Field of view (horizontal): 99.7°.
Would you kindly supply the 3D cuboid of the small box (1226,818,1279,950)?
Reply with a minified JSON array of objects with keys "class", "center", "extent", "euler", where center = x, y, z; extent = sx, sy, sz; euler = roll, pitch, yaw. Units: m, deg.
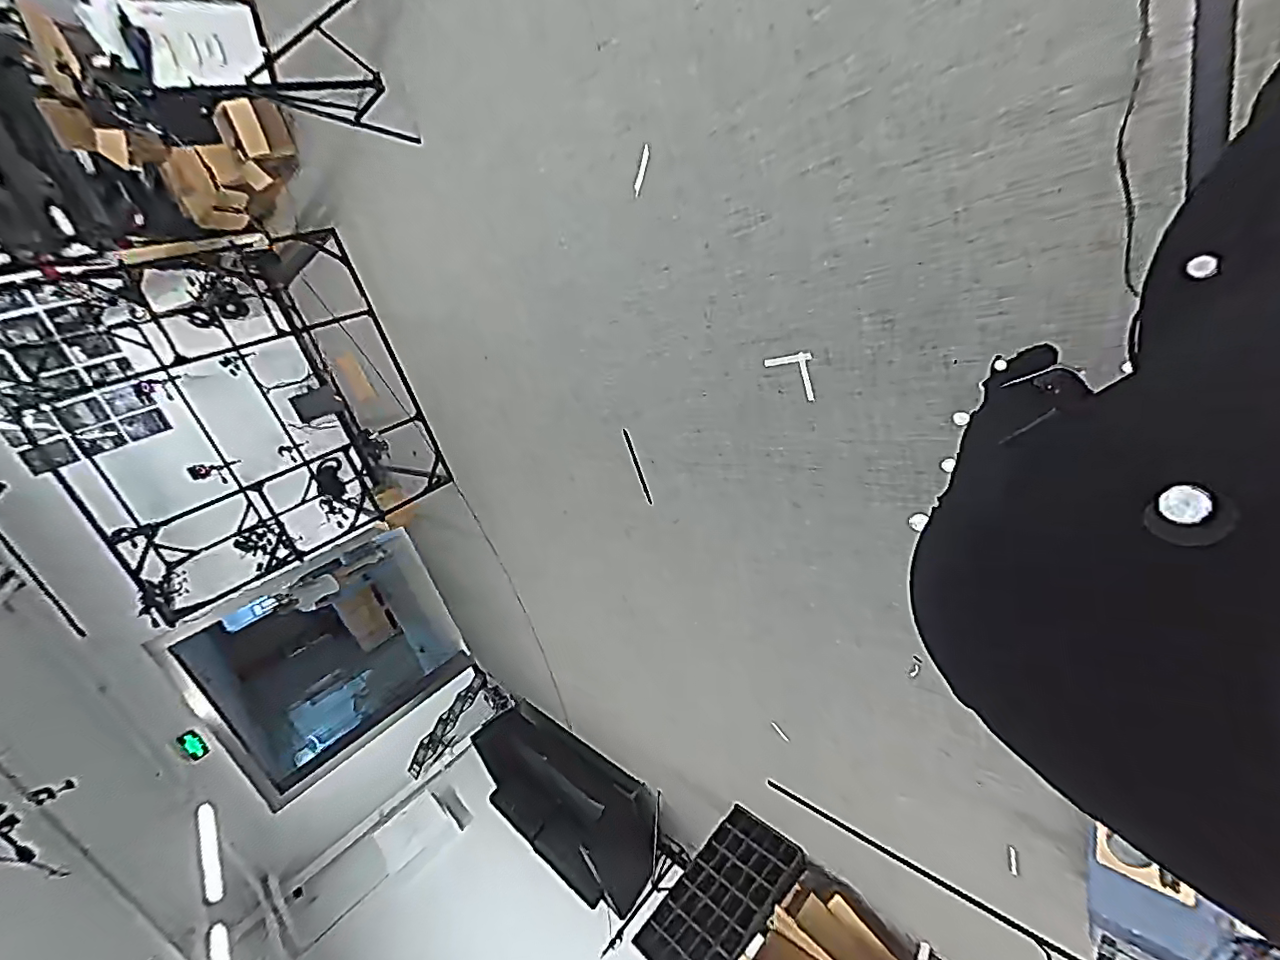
[{"class":"small box","center":[1.368,0.868,1.142],"extent":[0.168,0.176,0.179],"euler":[4,121,49]}]
